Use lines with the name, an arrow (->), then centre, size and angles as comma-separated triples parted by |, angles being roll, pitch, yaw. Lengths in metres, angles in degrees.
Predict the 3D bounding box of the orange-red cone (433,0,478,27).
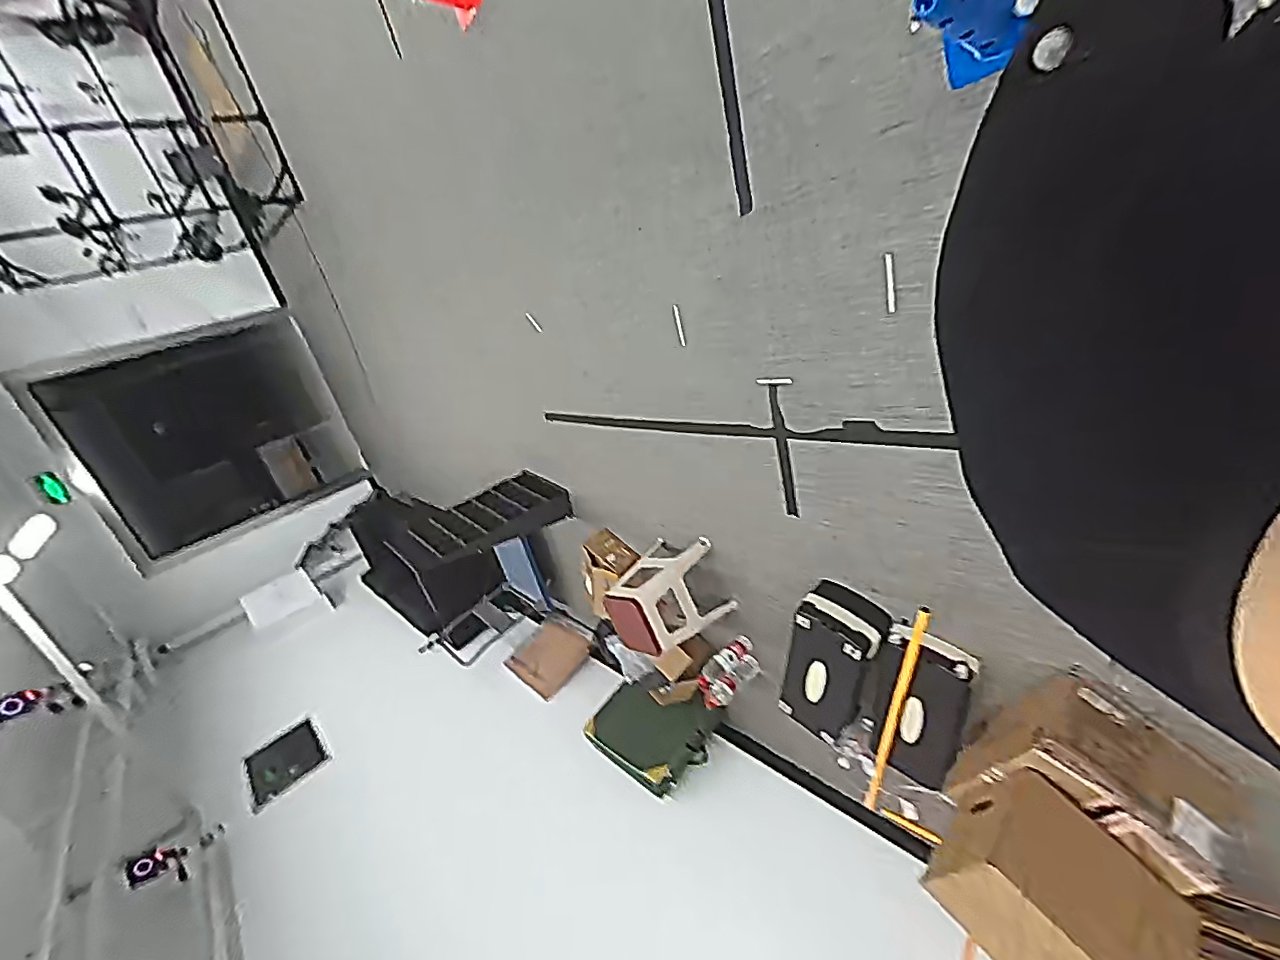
orange-red cone -> -0.808, -1.807, 1.968 | 0.198, 0.360, 0.199 | 7, 123, 51

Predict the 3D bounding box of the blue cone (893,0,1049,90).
blue cone -> 0.567, -0.834, 0.970 | 0.192, 0.380, 0.193 | 6, 121, 51
